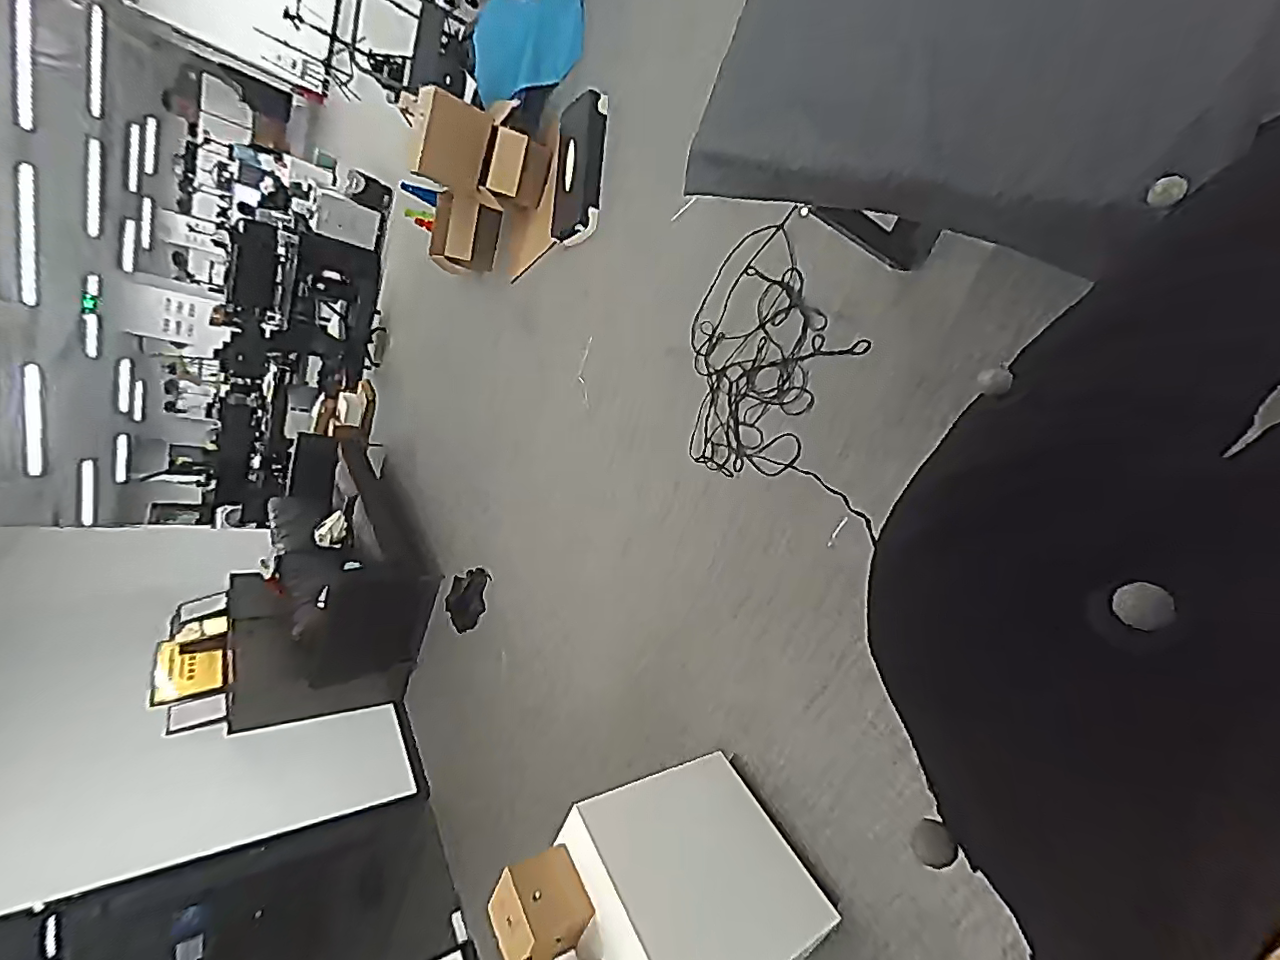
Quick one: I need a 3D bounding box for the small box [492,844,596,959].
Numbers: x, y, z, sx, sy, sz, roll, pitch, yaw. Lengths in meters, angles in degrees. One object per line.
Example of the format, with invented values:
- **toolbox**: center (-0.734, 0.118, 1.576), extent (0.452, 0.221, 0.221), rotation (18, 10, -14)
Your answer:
- **small box**: center (-0.232, 1.039, 1.315), extent (0.179, 0.176, 0.168), rotation (43, 117, 44)
